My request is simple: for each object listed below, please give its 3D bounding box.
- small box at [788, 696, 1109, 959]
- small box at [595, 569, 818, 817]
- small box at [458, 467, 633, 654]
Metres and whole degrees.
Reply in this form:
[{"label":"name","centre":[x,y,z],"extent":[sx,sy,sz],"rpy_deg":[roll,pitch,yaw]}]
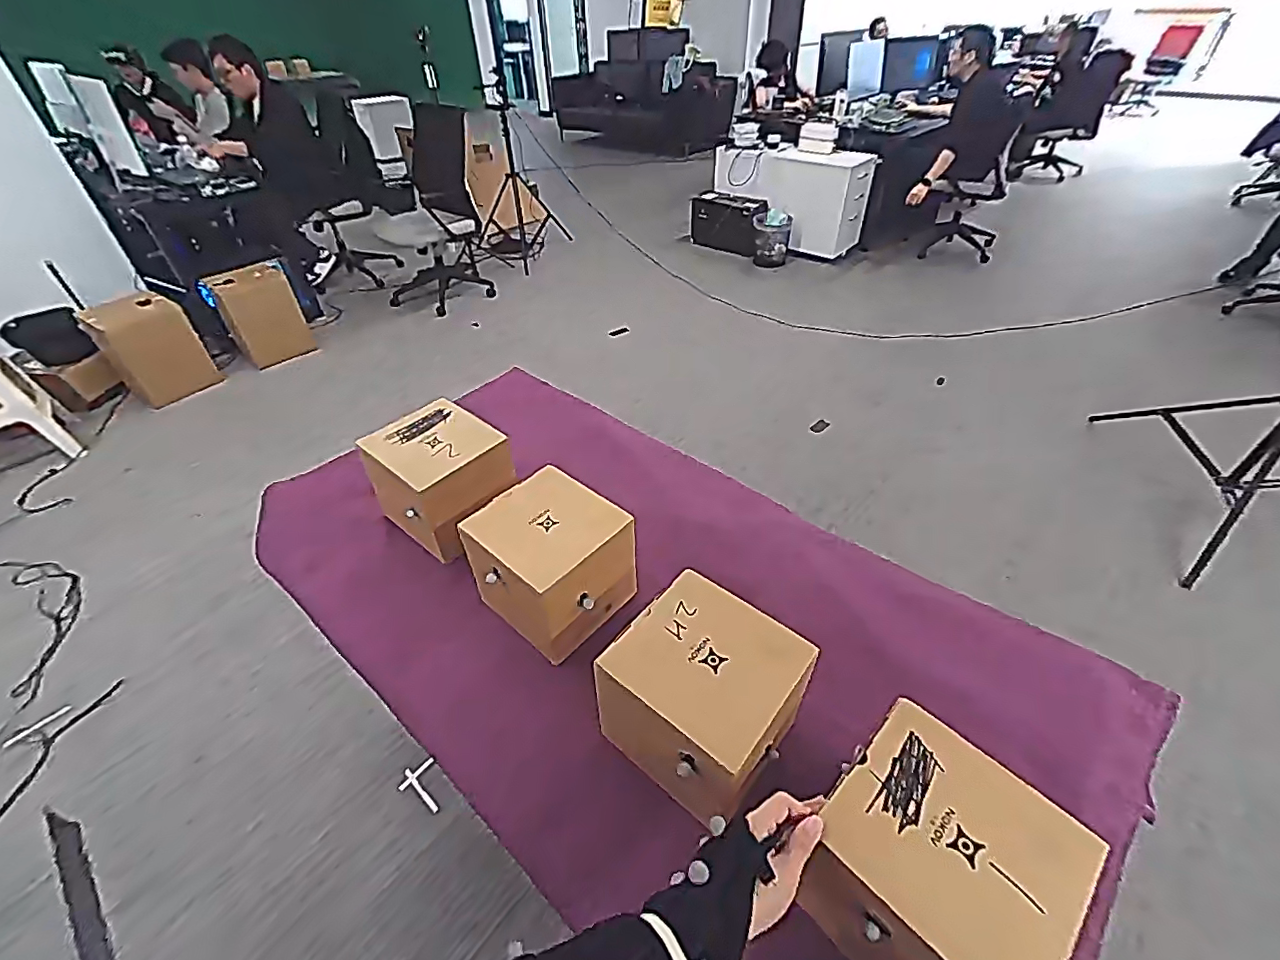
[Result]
[{"label":"small box","centre":[0.256,0.344,0.487],"extent":[0.168,0.176,0.179],"rpy_deg":[-33,50,-30]},{"label":"small box","centre":[0.071,0.242,0.611],"extent":[0.179,0.176,0.168],"rpy_deg":[28,48,30]},{"label":"small box","centre":[-0.123,0.117,0.768],"extent":[0.179,0.176,0.168],"rpy_deg":[29,50,31]}]
